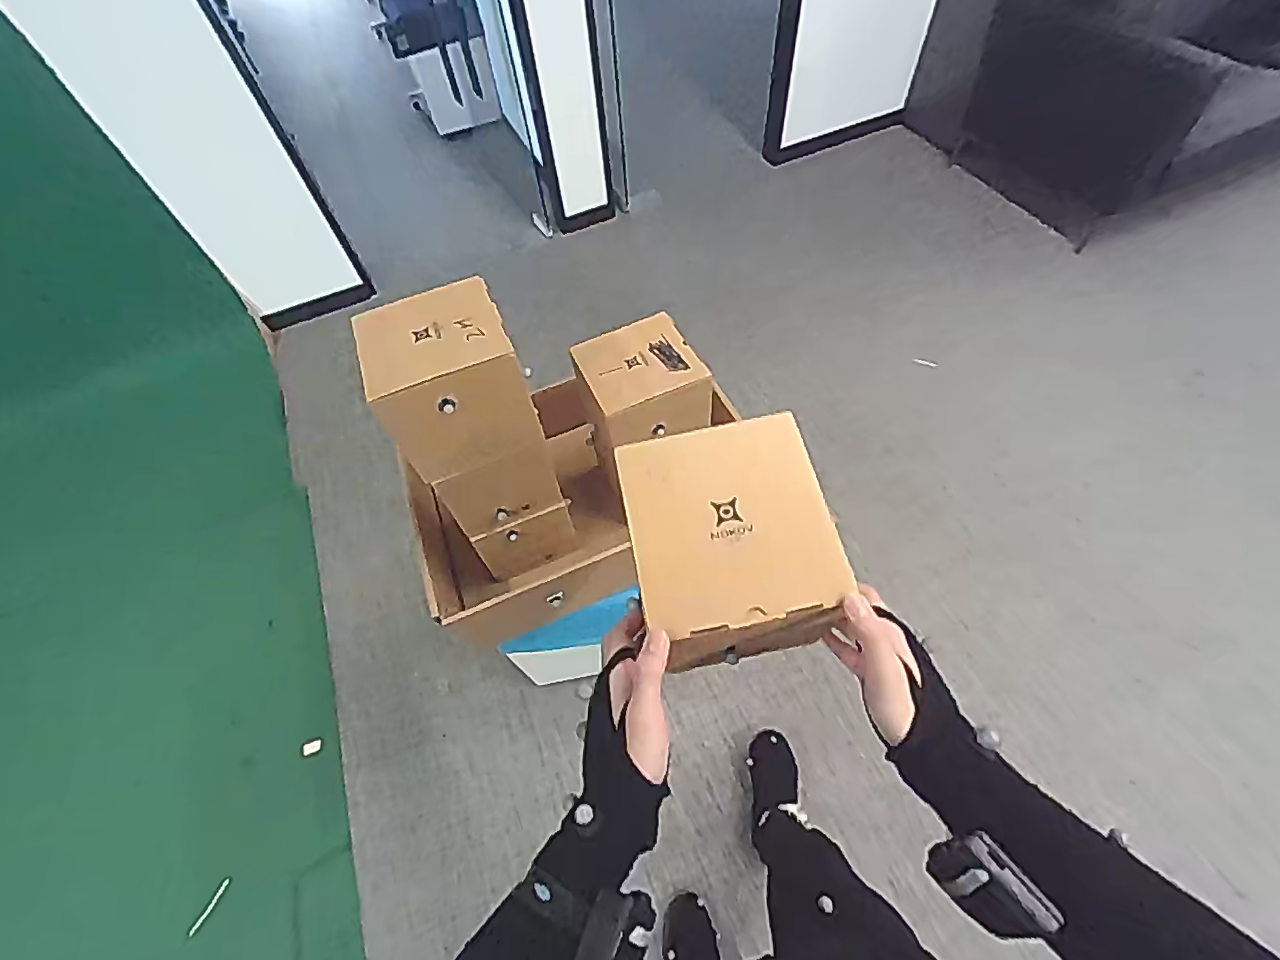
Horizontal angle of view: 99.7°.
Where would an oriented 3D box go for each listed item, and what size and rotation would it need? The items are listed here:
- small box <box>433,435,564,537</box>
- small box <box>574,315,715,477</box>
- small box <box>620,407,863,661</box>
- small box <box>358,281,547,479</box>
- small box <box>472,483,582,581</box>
[{"bbox_3d":[-0.234,-0.040,0.862,0.168,0.176,0.179,-22,57,-10],"label":"small box"},{"bbox_3d":[0.010,-0.135,0.900,0.179,0.176,0.168,-23,57,-8],"label":"small box"},{"bbox_3d":[0.080,0.059,0.516,0.168,0.176,0.179,-12,64,-1],"label":"small box"},{"bbox_3d":[-0.244,-0.128,0.724,0.179,0.176,0.168,-22,57,-9],"label":"small box"},{"bbox_3d":[-0.218,0.055,0.994,0.168,0.176,0.179,-22,56,-9],"label":"small box"}]
